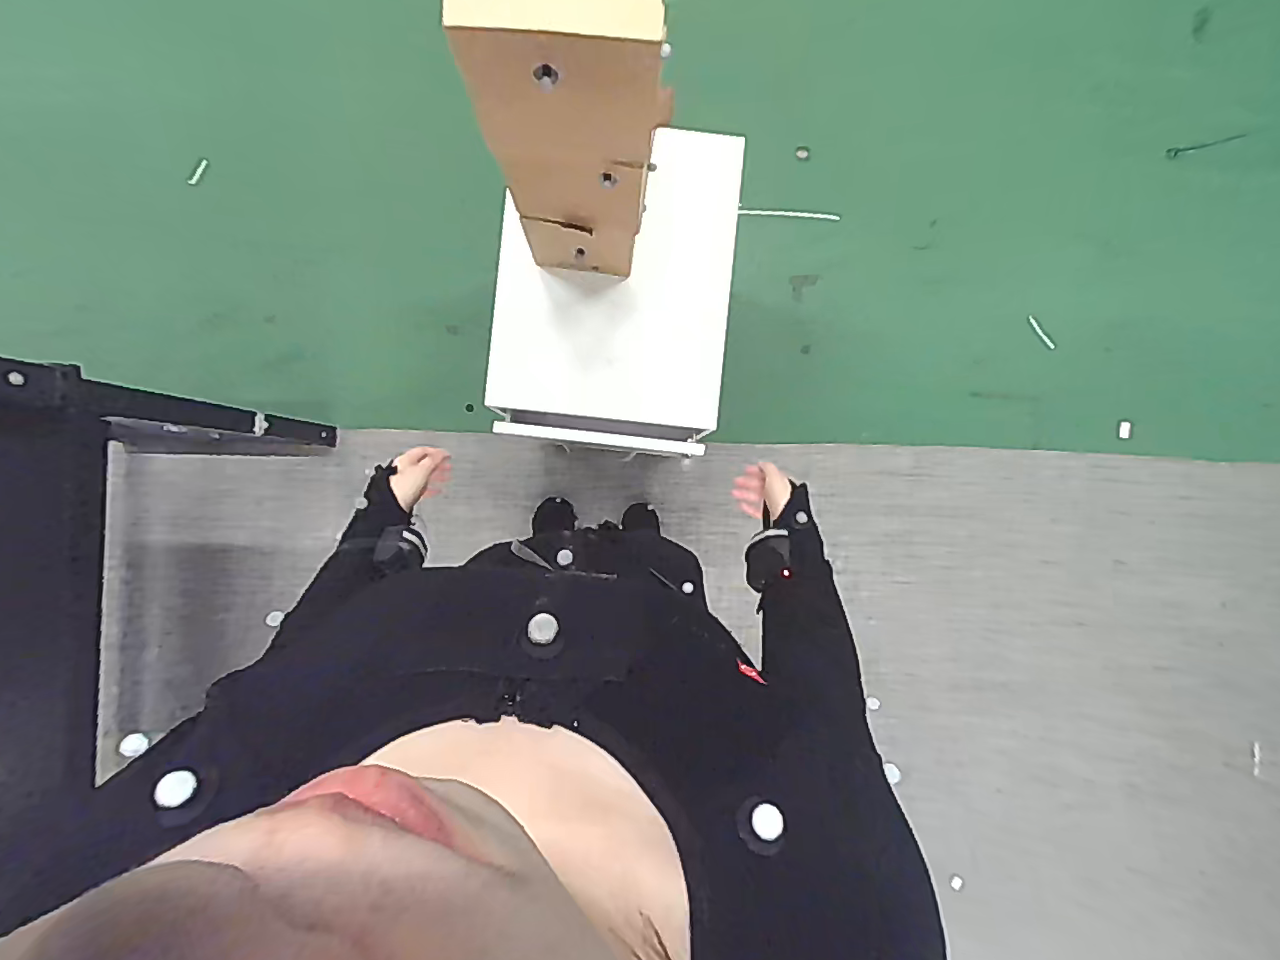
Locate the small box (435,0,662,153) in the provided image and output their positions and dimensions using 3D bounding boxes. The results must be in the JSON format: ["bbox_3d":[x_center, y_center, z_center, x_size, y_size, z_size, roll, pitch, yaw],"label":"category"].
[{"bbox_3d":[-0.070,-0.430,0.494,0.179,0.176,0.168,2,91,-3],"label":"small box"}]

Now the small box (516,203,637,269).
[{"bbox_3d":[-0.083,-0.440,0.821,0.168,0.176,0.179,7,91,-3],"label":"small box"}]

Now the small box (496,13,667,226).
[{"bbox_3d":[-0.072,-0.436,0.659,0.179,0.176,0.168,9,90,-3],"label":"small box"}]
